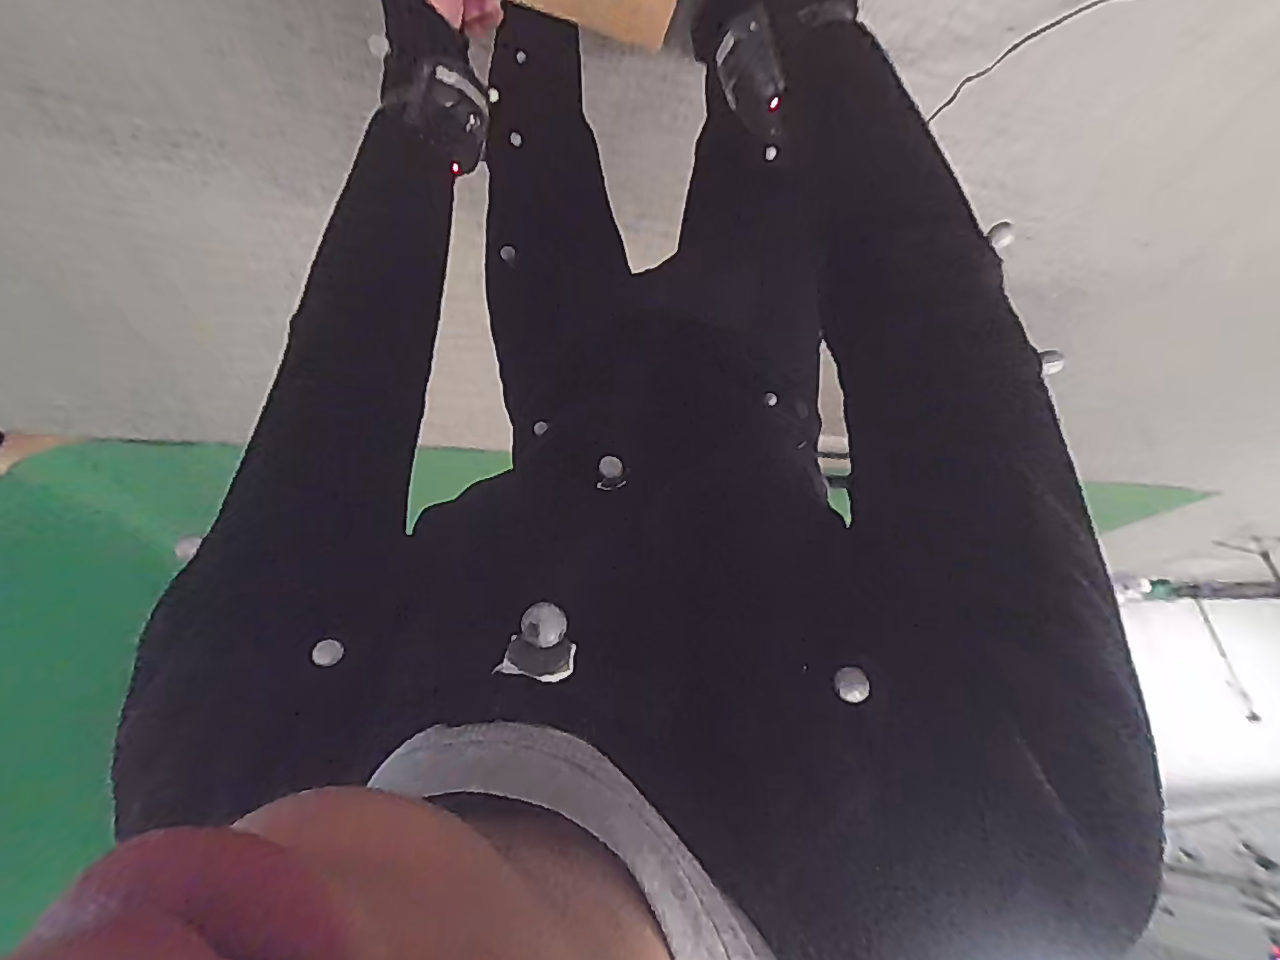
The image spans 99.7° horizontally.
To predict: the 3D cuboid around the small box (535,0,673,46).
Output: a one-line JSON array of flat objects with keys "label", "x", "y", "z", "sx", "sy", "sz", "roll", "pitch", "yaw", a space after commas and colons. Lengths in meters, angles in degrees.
[{"label": "small box", "x": -0.032, "y": -0.484, "z": 0.387, "sx": 0.168, "sy": 0.176, "sz": 0.179, "roll": 8, "pitch": 165, "yaw": -18}]
